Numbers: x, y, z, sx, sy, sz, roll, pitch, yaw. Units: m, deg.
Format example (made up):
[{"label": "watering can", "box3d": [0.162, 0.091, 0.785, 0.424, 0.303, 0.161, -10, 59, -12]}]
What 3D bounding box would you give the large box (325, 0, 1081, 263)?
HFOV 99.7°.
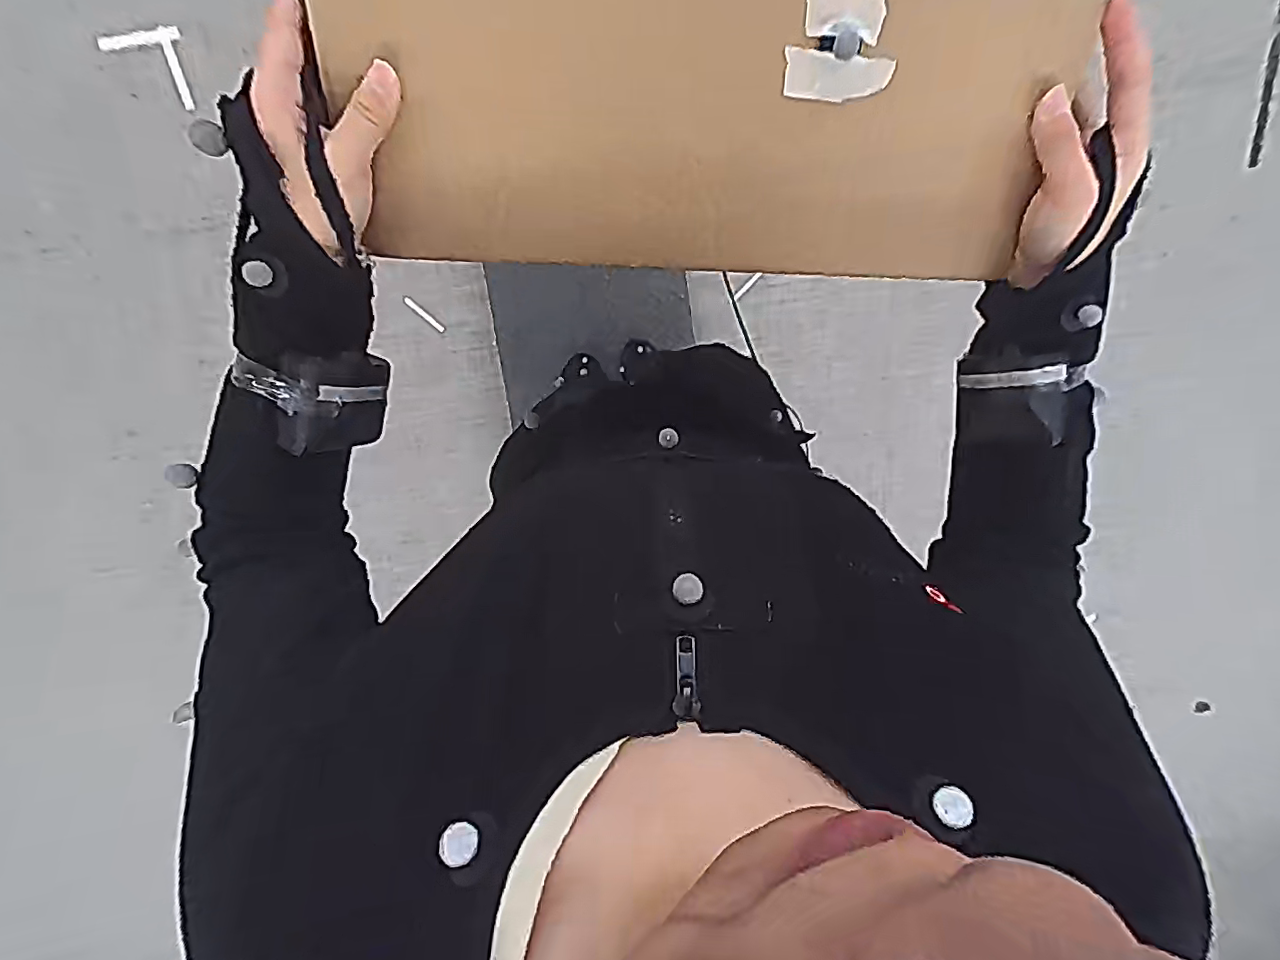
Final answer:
[{"label": "large box", "box3d": [0.029, -0.347, 0.398, 0.408, 0.320, 0.320, 0, 120, -5]}]
